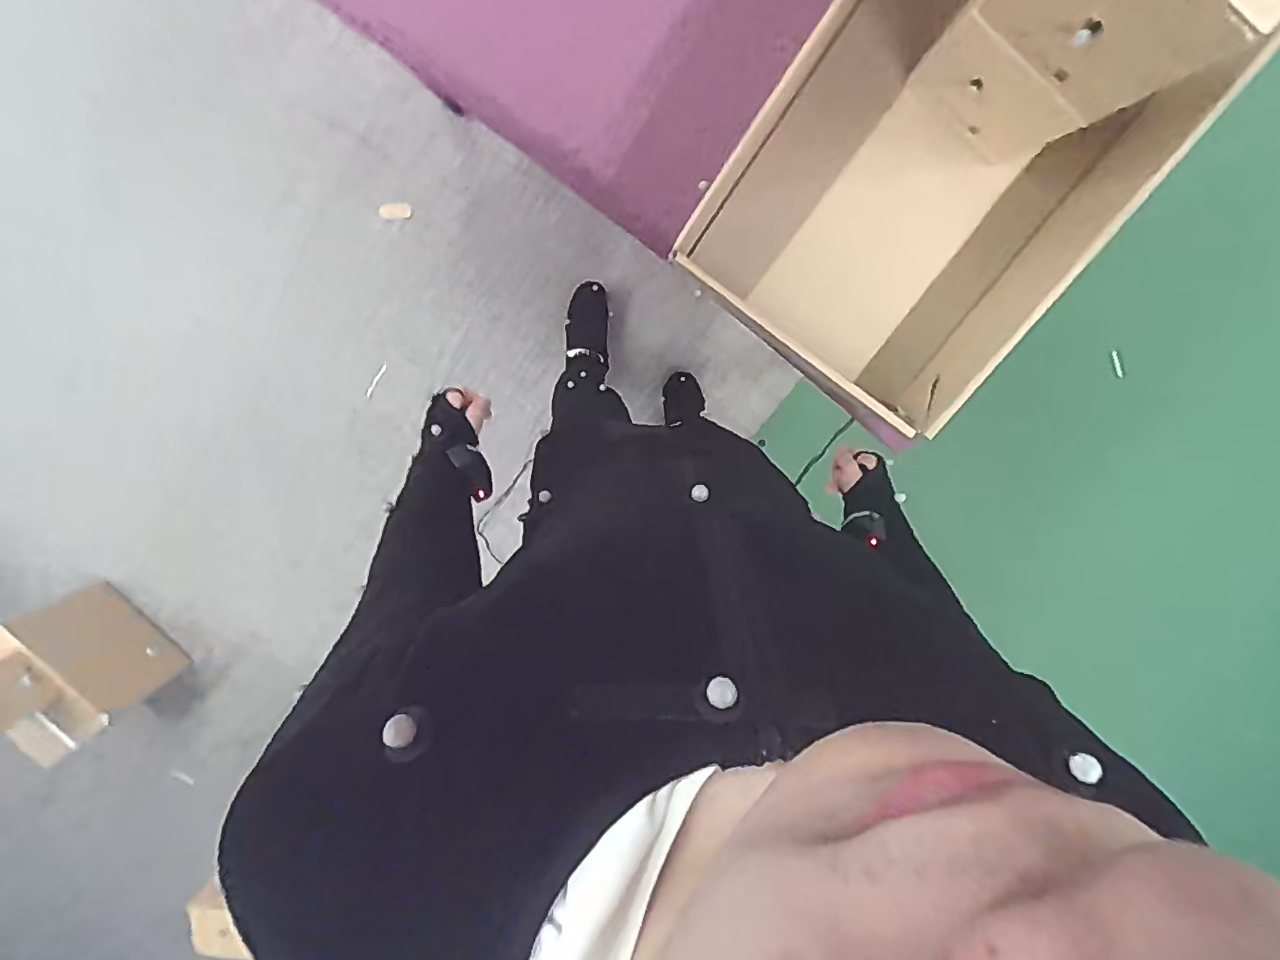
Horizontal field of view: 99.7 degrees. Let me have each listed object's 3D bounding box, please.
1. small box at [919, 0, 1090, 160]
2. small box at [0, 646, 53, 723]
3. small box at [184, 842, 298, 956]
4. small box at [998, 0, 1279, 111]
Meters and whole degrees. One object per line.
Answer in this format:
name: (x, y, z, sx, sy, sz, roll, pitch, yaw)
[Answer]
small box: (0.446, -0.499, 0.600, 0.168, 0.176, 0.179, 38, 105, -7)
small box: (-1.799, 0.592, 1.479, 0.179, 0.176, 0.168, -32, 103, 8)
small box: (-1.043, 1.096, 1.425, 0.179, 0.176, 0.168, 8, 106, -1)
small box: (0.440, -0.455, 0.442, 0.168, 0.176, 0.179, 38, 105, -7)
